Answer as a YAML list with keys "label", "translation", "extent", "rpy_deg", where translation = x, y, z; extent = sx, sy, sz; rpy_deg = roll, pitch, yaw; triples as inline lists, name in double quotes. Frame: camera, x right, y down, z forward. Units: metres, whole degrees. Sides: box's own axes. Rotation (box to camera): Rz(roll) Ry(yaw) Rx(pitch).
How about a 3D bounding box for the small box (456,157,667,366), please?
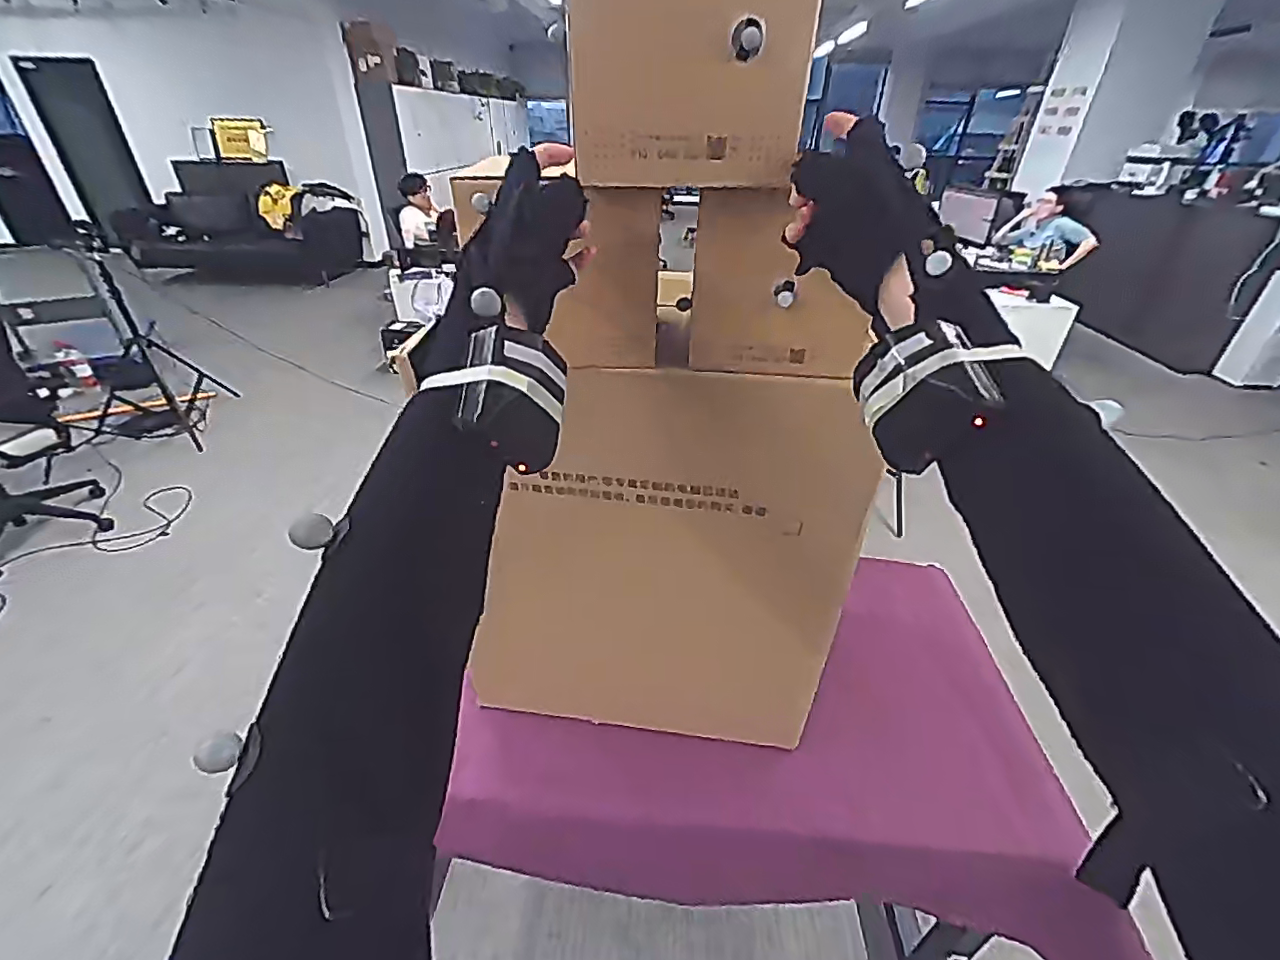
- label: "small box"
  translation: [-0.066, -0.224, 0.557]
  extent: [0.179, 0.176, 0.168]
  rpy_deg: [0, 35, 0]

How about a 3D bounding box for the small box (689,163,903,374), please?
- label: "small box"
  translation: [0.140, -0.219, 0.553]
  extent: [0.168, 0.176, 0.179]
  rpy_deg: [4, 36, 4]

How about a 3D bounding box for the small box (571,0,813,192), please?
- label: "small box"
  translation: [0.031, -0.335, 0.435]
  extent: [0.168, 0.176, 0.179]
  rpy_deg: [-1, 34, -5]
